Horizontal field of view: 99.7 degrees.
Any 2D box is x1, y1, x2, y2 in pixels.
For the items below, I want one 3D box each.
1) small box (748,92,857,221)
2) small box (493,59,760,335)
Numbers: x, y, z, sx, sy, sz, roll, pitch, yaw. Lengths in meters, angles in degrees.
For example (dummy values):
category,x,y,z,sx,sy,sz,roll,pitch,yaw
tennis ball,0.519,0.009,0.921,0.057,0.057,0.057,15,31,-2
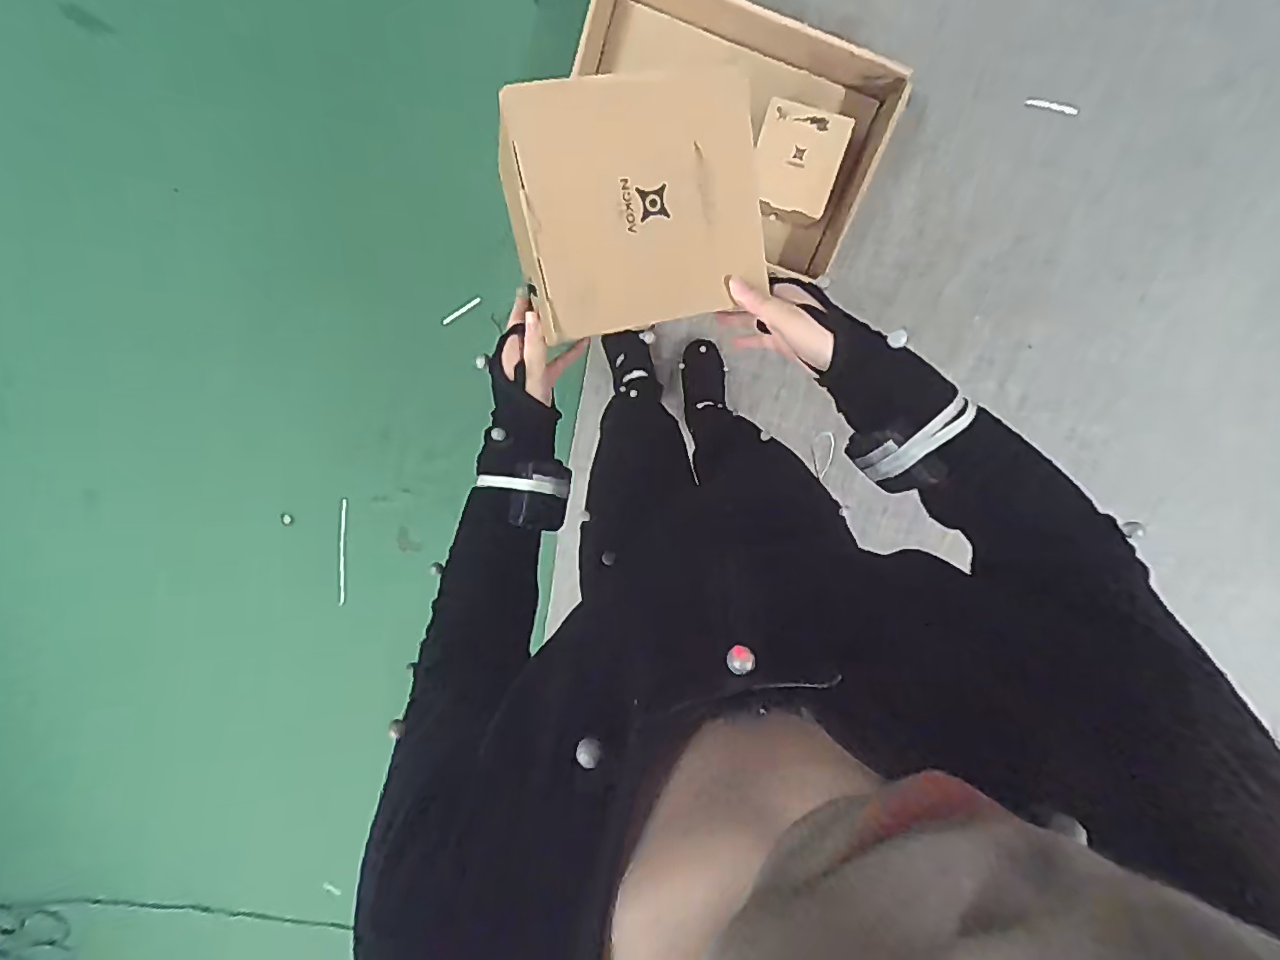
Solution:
category,x,y,z,sx,sy,sz,roll,pitch,yaw
small box,0.311,-0.644,1.101,0.168,0.176,0.179,16,111,0
small box,-0.018,-0.223,0.467,0.179,0.176,0.168,-13,106,-10
